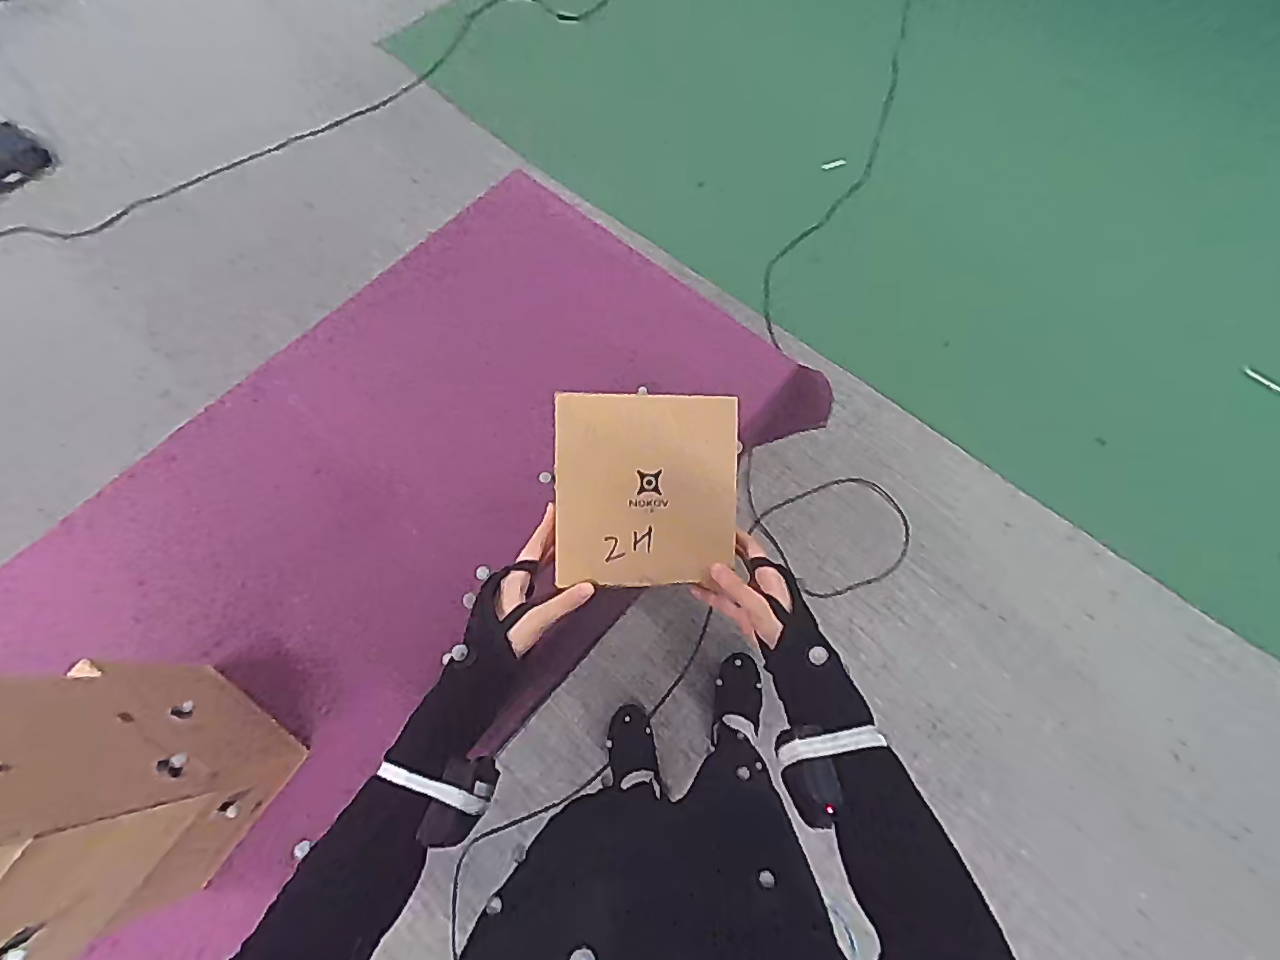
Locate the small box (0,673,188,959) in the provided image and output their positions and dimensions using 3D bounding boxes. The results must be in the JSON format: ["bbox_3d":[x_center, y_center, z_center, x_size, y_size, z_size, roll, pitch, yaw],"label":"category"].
[{"bbox_3d":[-0.489,0.257,0.393,0.168,0.176,0.179,33,74,12],"label":"small box"}]

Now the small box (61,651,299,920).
[{"bbox_3d":[-0.505,0.296,0.553,0.179,0.176,0.168,33,73,13],"label":"small box"}]

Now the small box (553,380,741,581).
[{"bbox_3d":[-0.002,-0.001,0.563,0.168,0.176,0.179,2,93,-6],"label":"small box"}]
